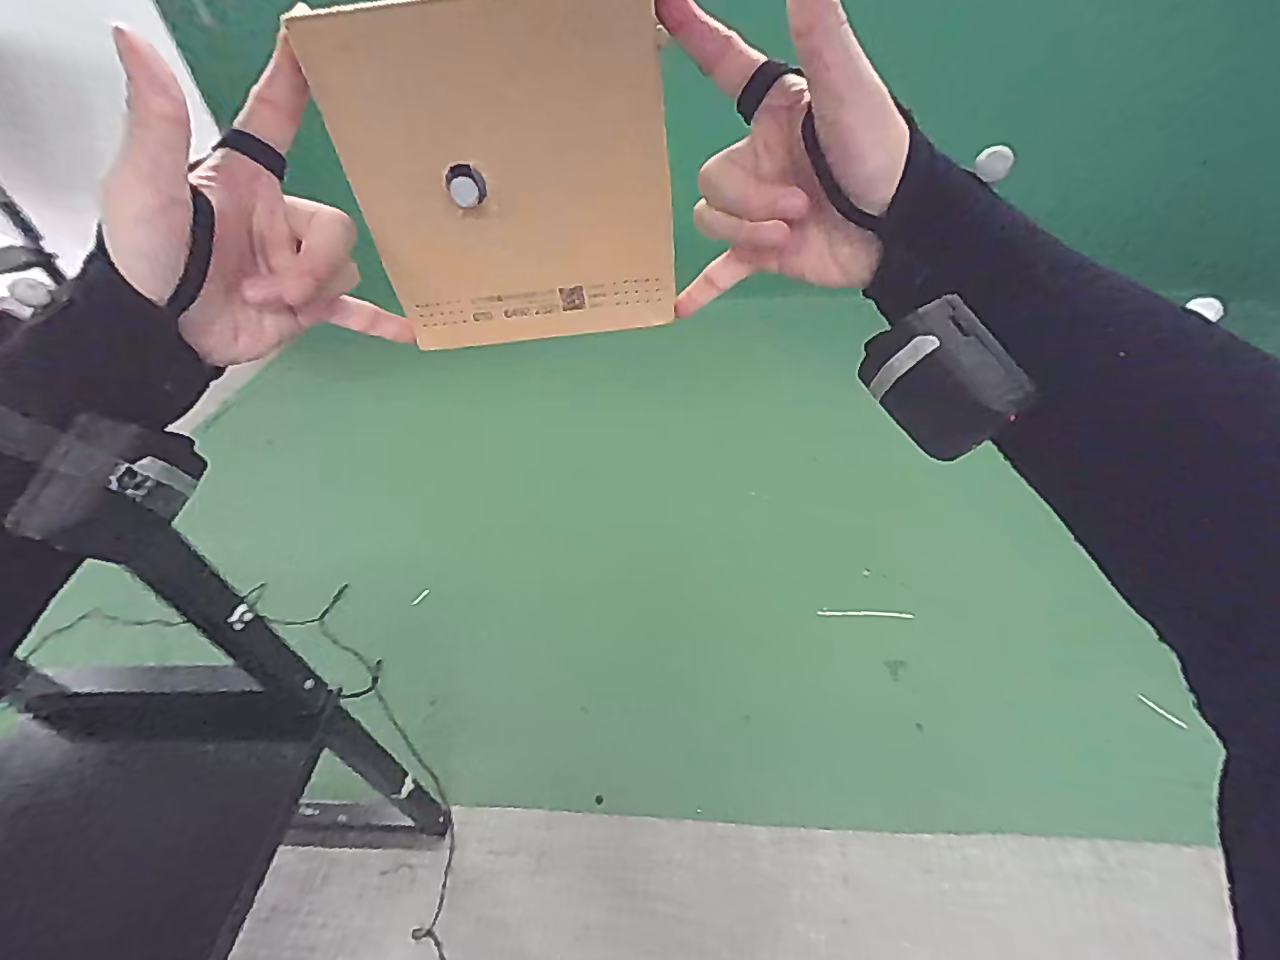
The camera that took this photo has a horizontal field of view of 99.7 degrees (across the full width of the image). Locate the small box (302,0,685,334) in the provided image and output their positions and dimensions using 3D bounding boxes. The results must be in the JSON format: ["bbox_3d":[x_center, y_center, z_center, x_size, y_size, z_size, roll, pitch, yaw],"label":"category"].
[{"bbox_3d":[-0.062,-0.205,0.347,0.168,0.176,0.179,-5,42,3],"label":"small box"}]
